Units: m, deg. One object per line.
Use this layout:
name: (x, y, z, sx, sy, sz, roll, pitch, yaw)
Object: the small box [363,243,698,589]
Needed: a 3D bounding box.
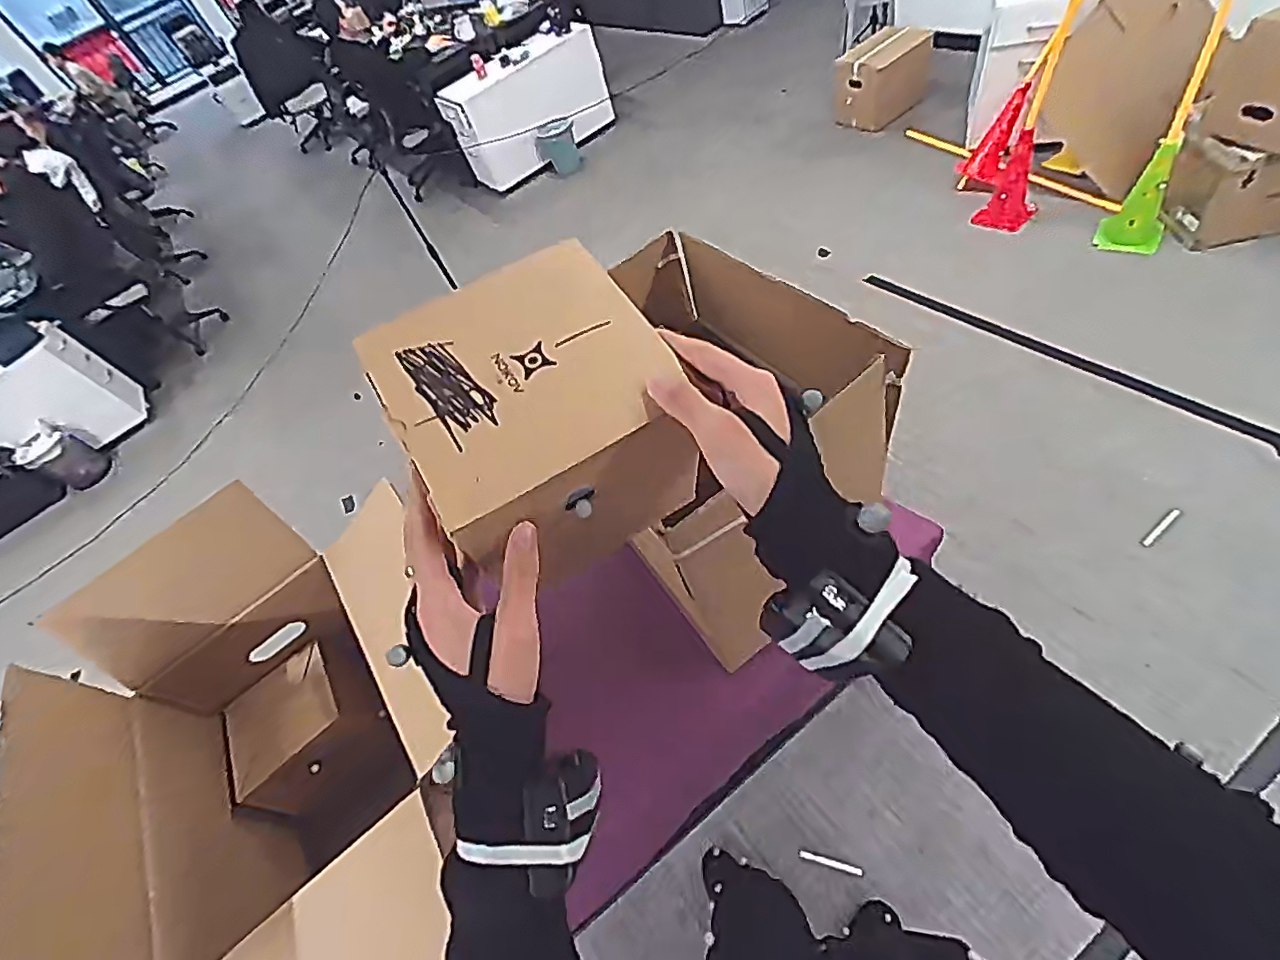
small box: (-0.072, -0.039, 0.425, 0.179, 0.176, 0.168, -31, 67, -13)
